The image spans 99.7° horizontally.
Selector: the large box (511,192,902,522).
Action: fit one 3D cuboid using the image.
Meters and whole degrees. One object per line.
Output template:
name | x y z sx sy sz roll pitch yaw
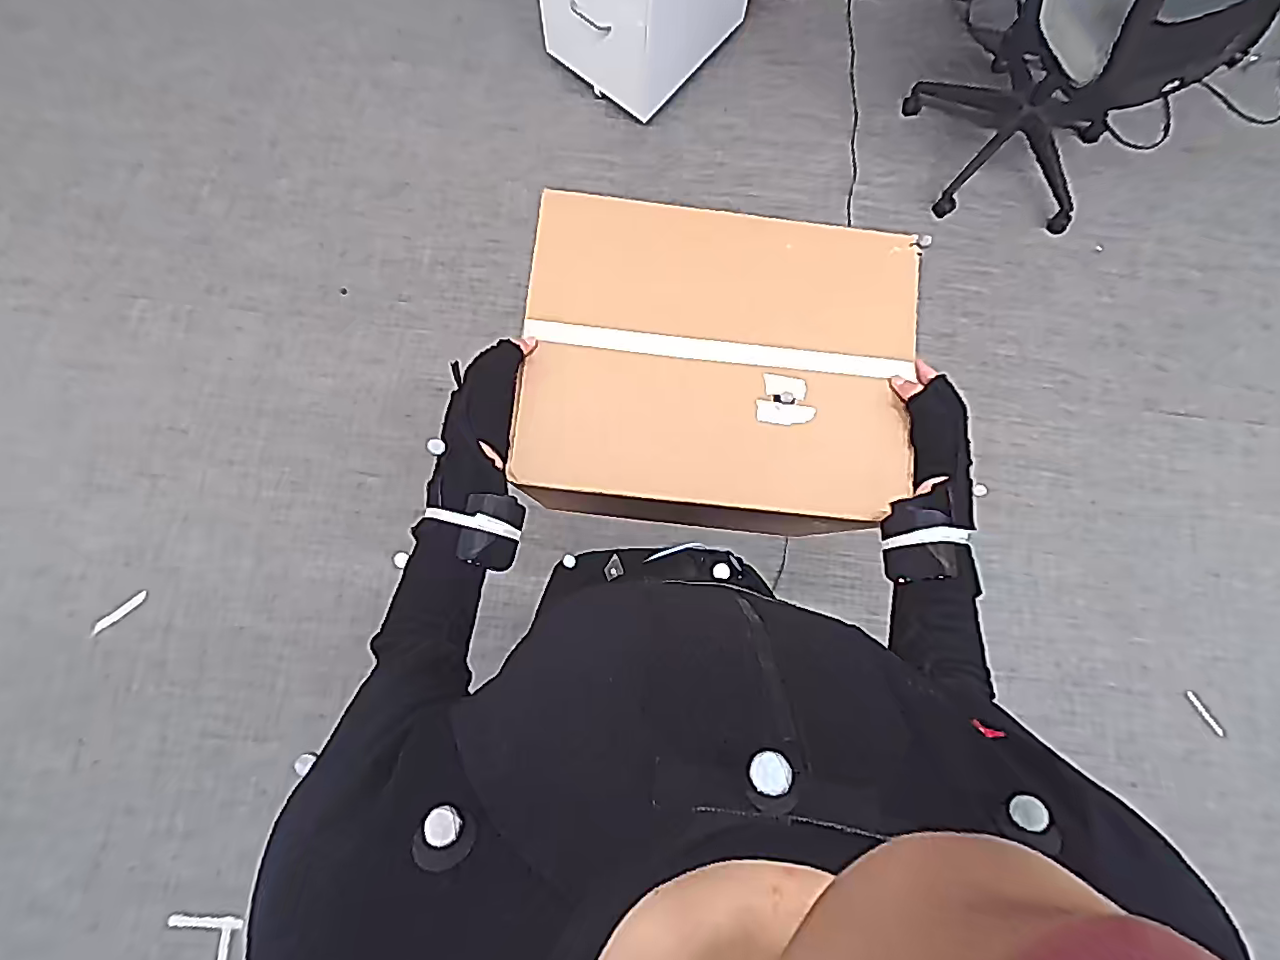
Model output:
large box | 0.068 -0.121 0.714 0.408 0.320 0.320 7 83 -3
